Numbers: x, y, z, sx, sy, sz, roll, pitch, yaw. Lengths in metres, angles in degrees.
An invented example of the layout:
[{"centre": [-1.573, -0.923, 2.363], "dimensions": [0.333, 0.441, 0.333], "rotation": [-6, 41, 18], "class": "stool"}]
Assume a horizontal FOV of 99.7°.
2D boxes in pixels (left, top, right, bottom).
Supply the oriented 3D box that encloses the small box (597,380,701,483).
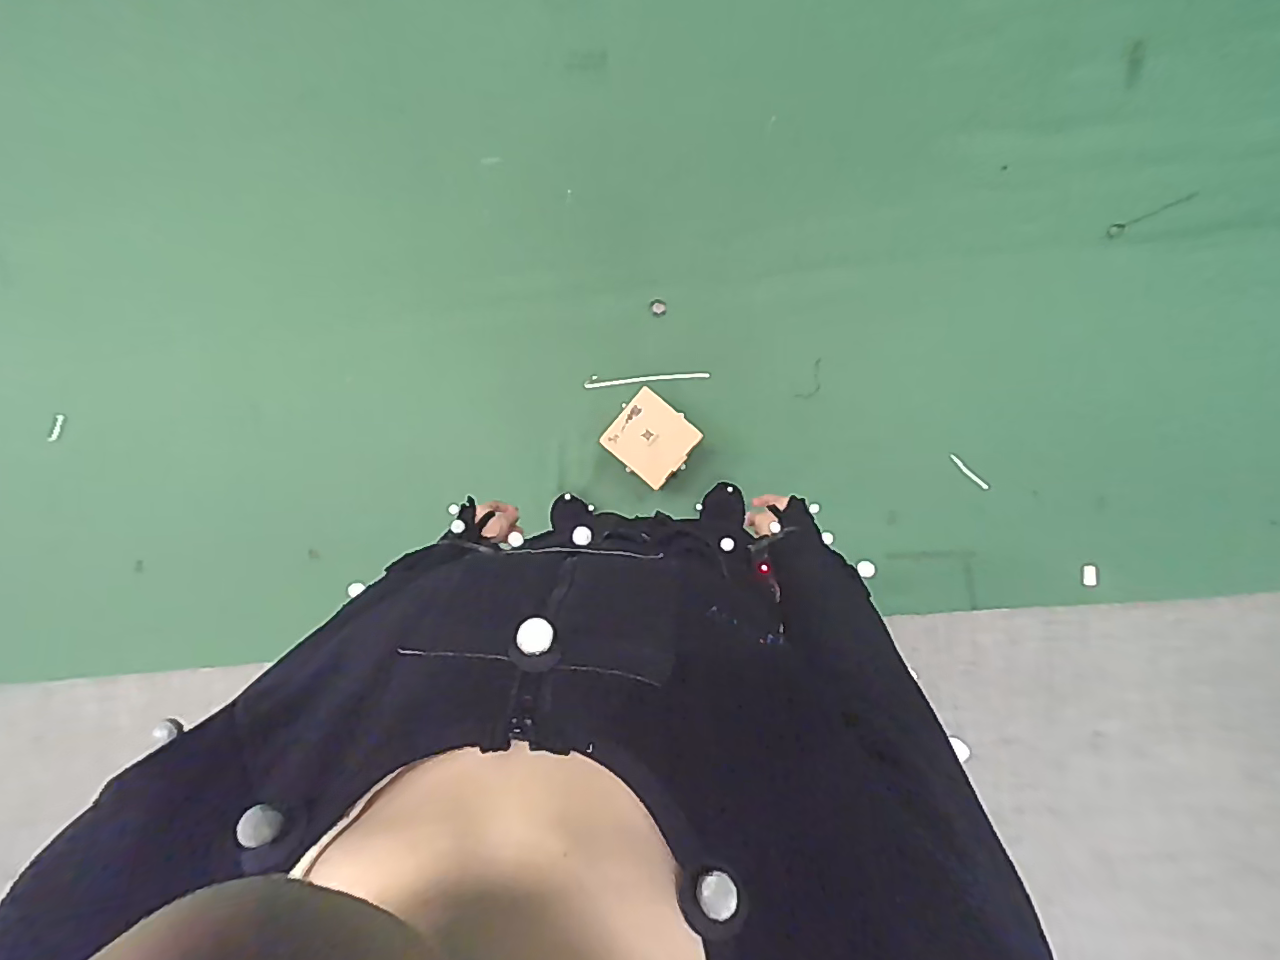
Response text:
[{"centre": [0.025, -0.112, 1.279], "dimensions": [0.179, 0.176, 0.168], "rotation": [41, 93, 1], "class": "small box"}]
